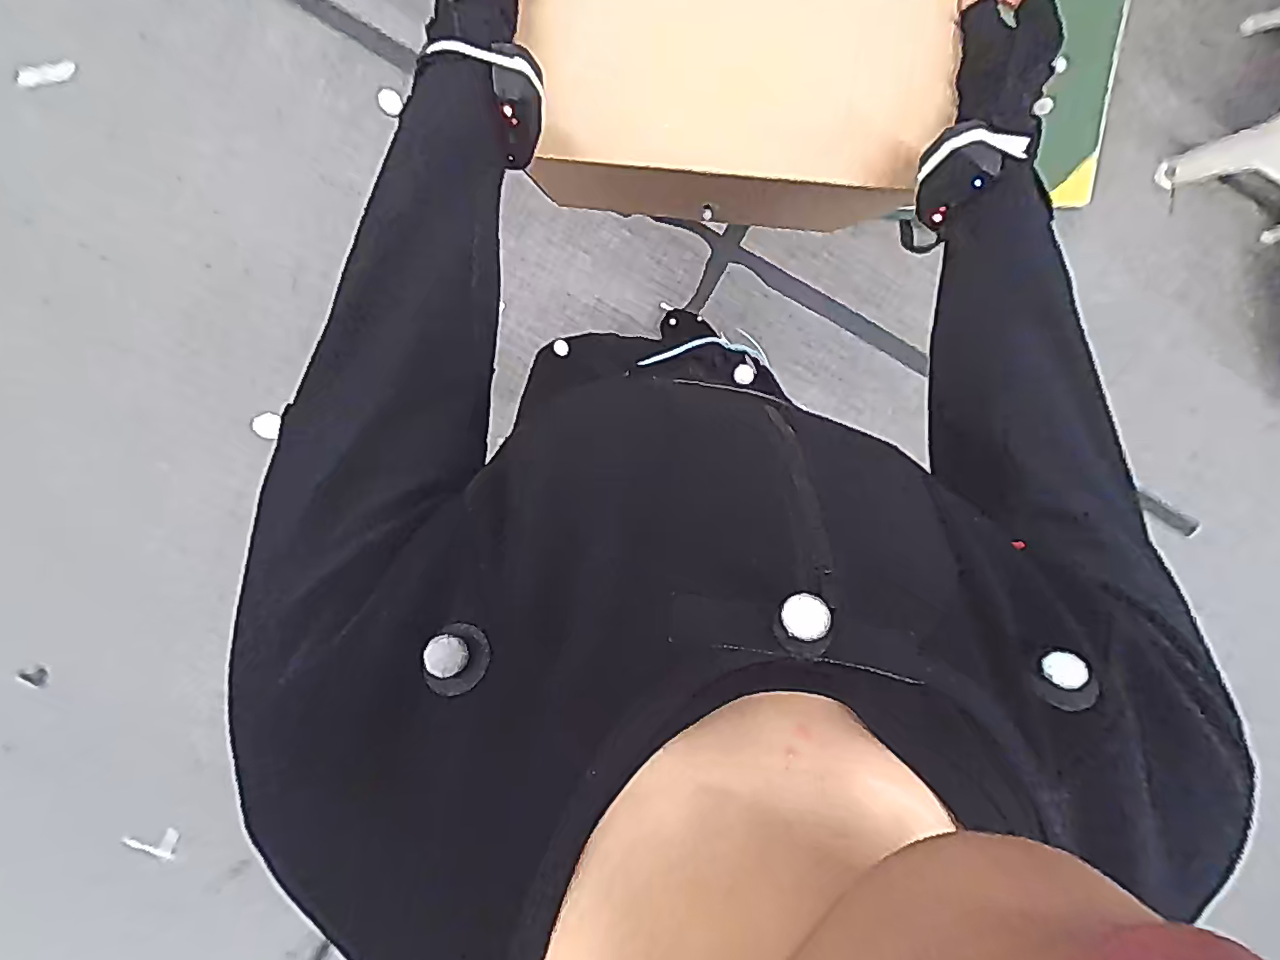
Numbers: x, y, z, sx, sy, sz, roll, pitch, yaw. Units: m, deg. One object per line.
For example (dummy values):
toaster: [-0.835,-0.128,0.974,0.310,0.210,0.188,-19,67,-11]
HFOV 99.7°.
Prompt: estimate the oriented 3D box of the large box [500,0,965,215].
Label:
large box: [0.084,-0.485,0.590,0.408,0.320,0.320,4,108,-1]
